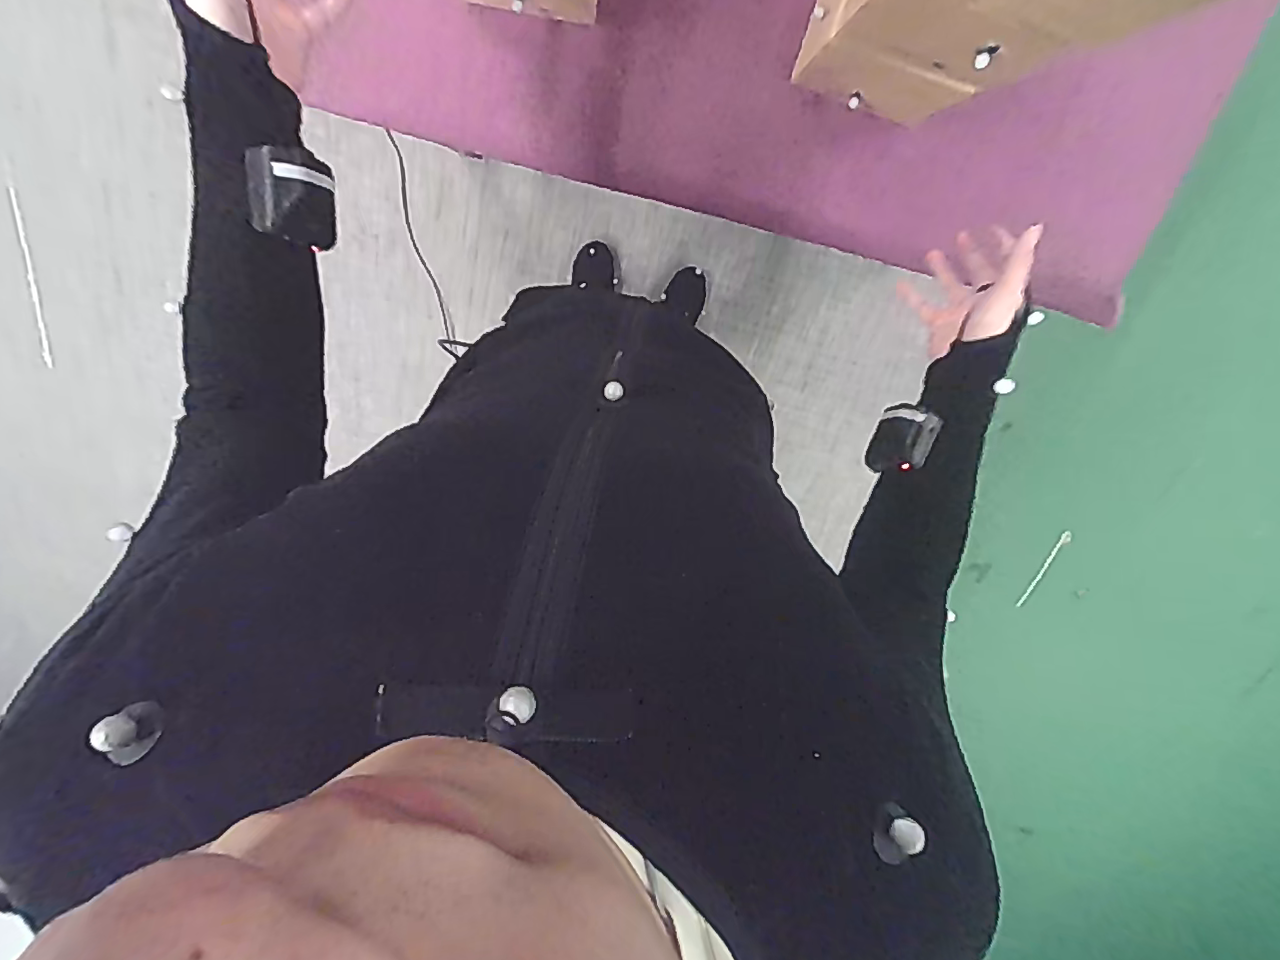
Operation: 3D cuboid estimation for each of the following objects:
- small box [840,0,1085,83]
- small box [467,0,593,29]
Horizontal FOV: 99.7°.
[{"bbox_3d":[0.288,-0.465,0.444,0.168,0.176,0.179,15,113,-5],"label":"small box"},{"bbox_3d":[-0.129,-0.621,0.563,0.168,0.176,0.179,9,113,-2],"label":"small box"}]
